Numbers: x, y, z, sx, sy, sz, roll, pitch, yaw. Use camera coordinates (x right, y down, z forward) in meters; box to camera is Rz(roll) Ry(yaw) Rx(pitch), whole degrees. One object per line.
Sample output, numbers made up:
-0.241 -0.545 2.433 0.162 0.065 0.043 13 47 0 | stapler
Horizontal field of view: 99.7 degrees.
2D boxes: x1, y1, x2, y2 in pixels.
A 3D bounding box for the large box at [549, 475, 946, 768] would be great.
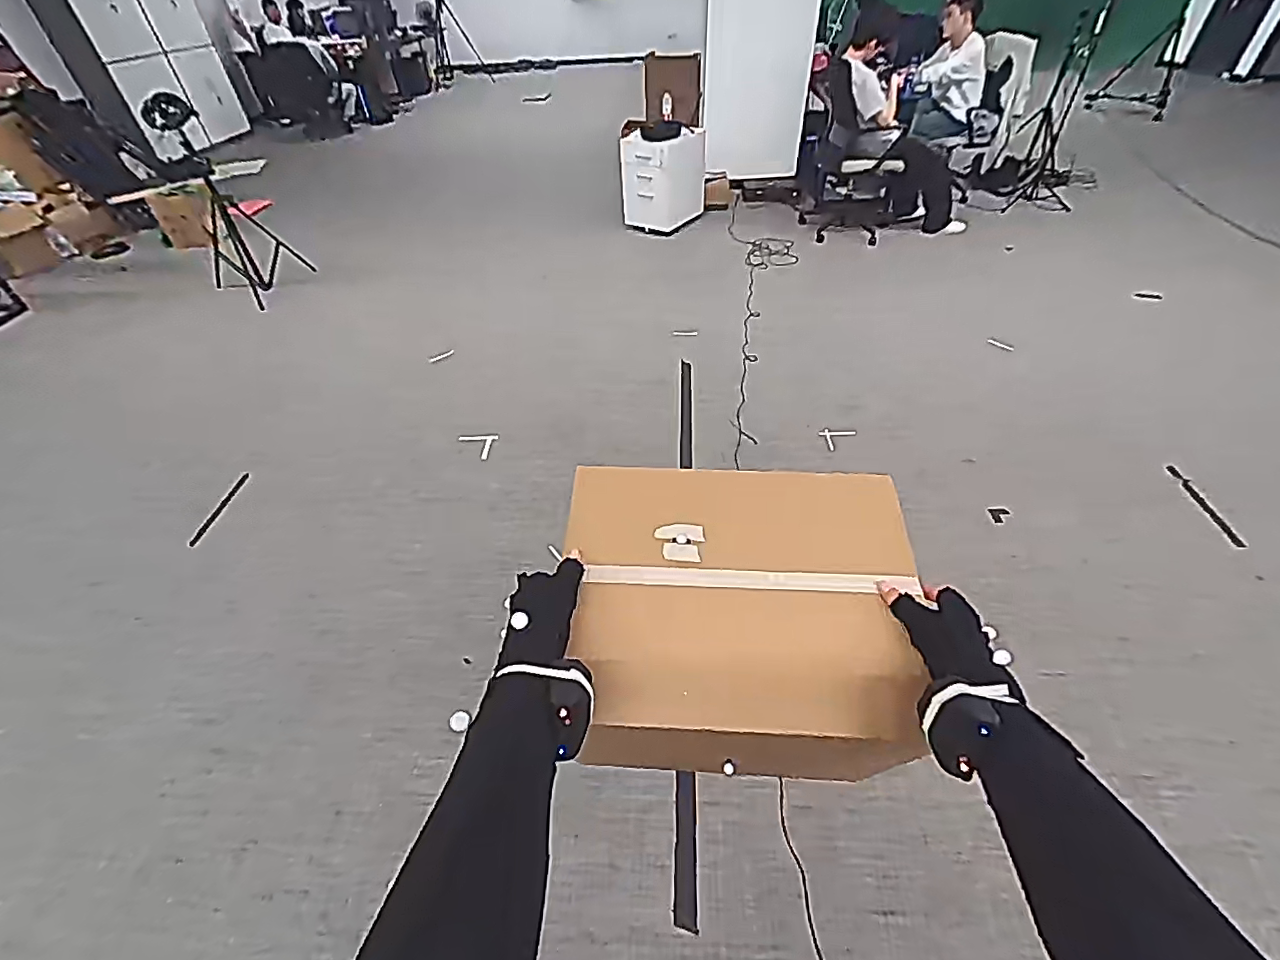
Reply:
0.116 0.205 0.744 0.408 0.320 0.320 1 55 3 | large box
